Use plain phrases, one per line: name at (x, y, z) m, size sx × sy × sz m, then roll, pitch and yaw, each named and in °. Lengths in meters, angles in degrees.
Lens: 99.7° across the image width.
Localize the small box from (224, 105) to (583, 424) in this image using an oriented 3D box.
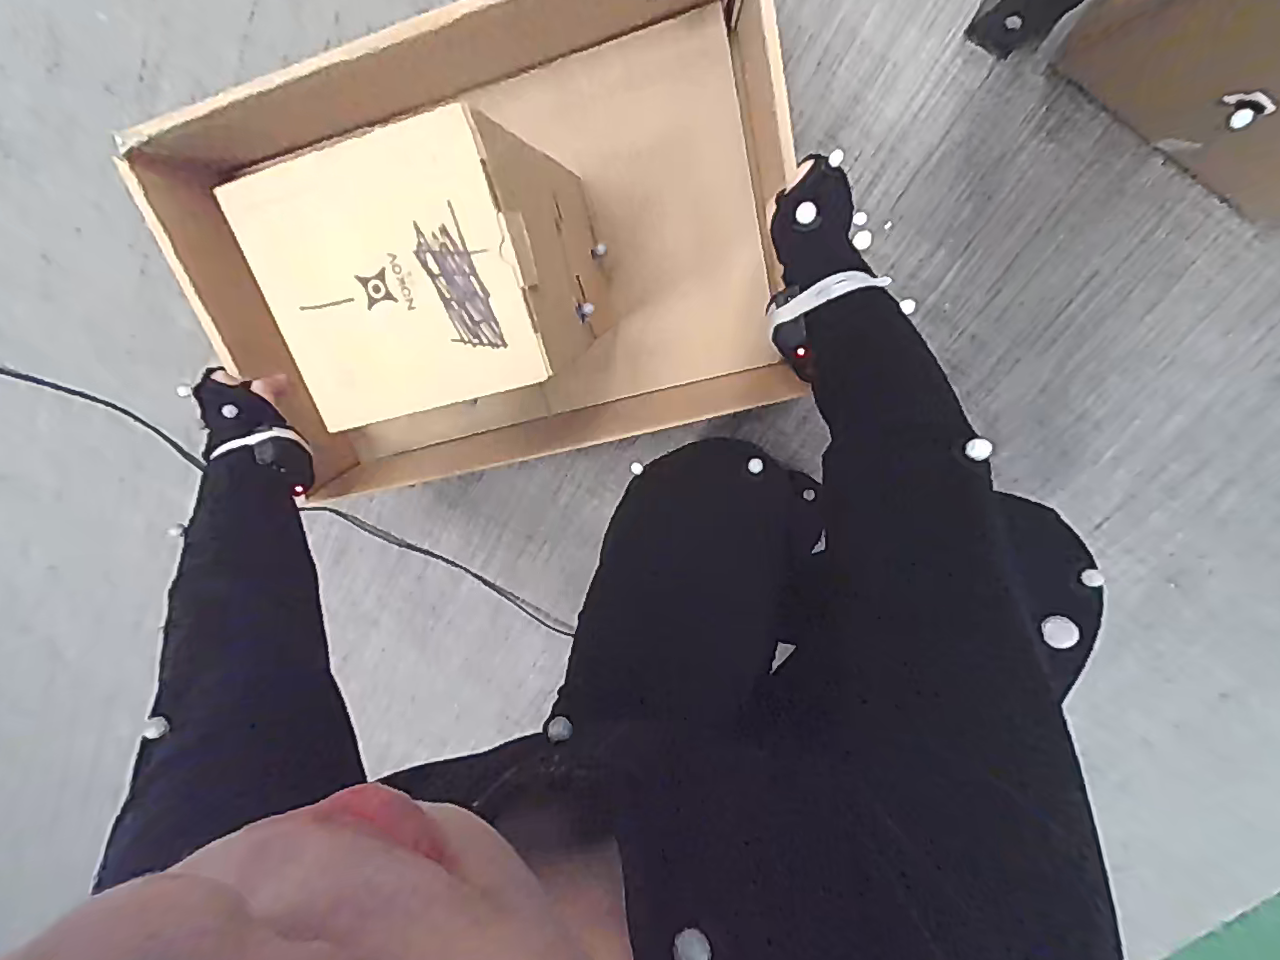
small box at (-0.152, -0.160, 0.425) m, size 0.179 × 0.176 × 0.168 m, roll -10°, pitch 111°, yaw 11°

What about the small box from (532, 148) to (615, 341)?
small box at (-0.137, -0.225, 0.576) m, size 0.179 × 0.176 × 0.168 m, roll -11°, pitch 111°, yaw 9°
